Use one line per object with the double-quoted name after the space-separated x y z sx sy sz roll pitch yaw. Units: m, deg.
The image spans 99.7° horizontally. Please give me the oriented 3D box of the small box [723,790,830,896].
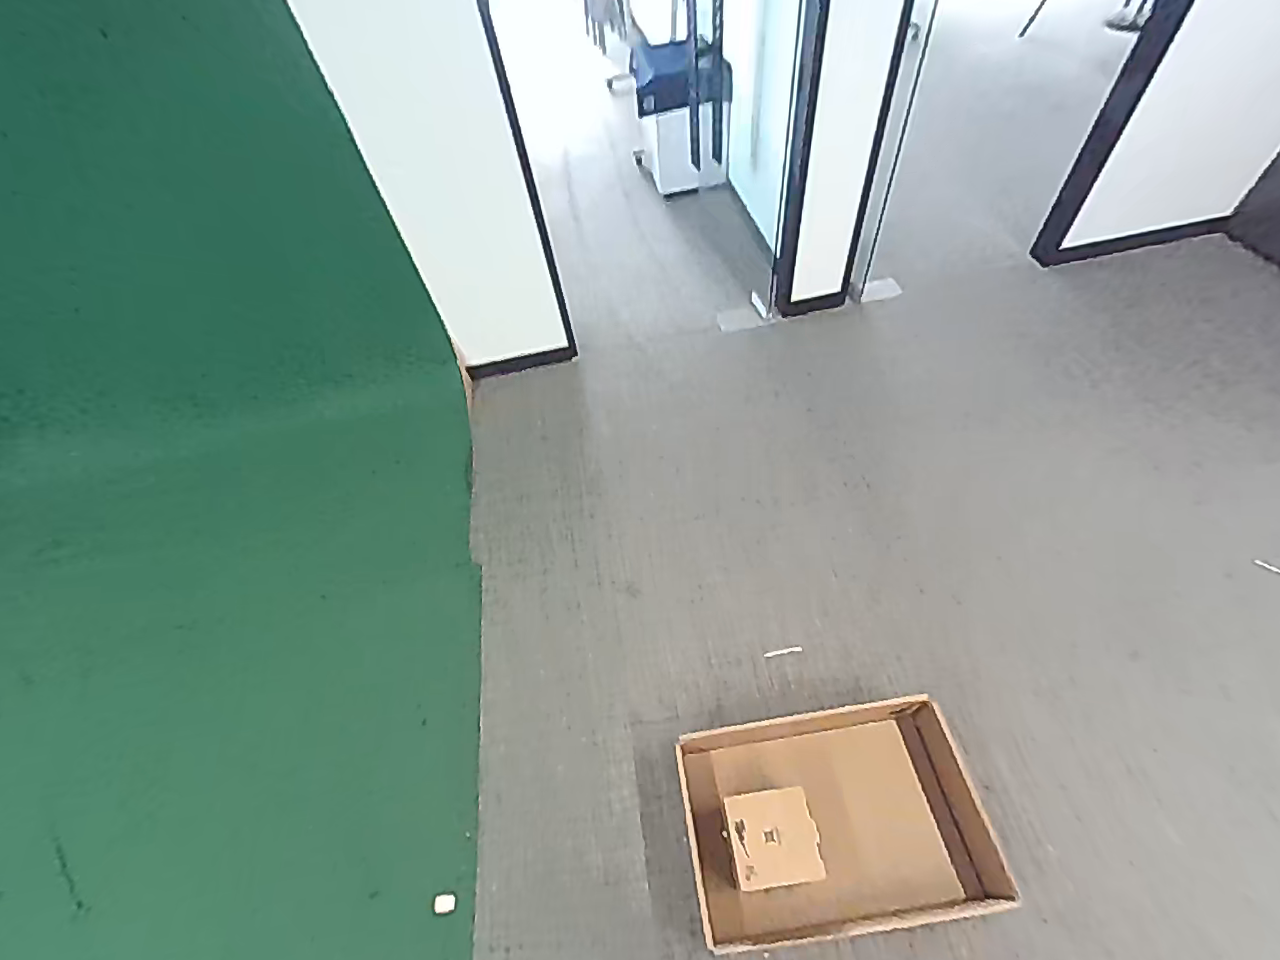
0.284 0.783 1.165 0.179 0.176 0.168 -8 51 0 "small box"
